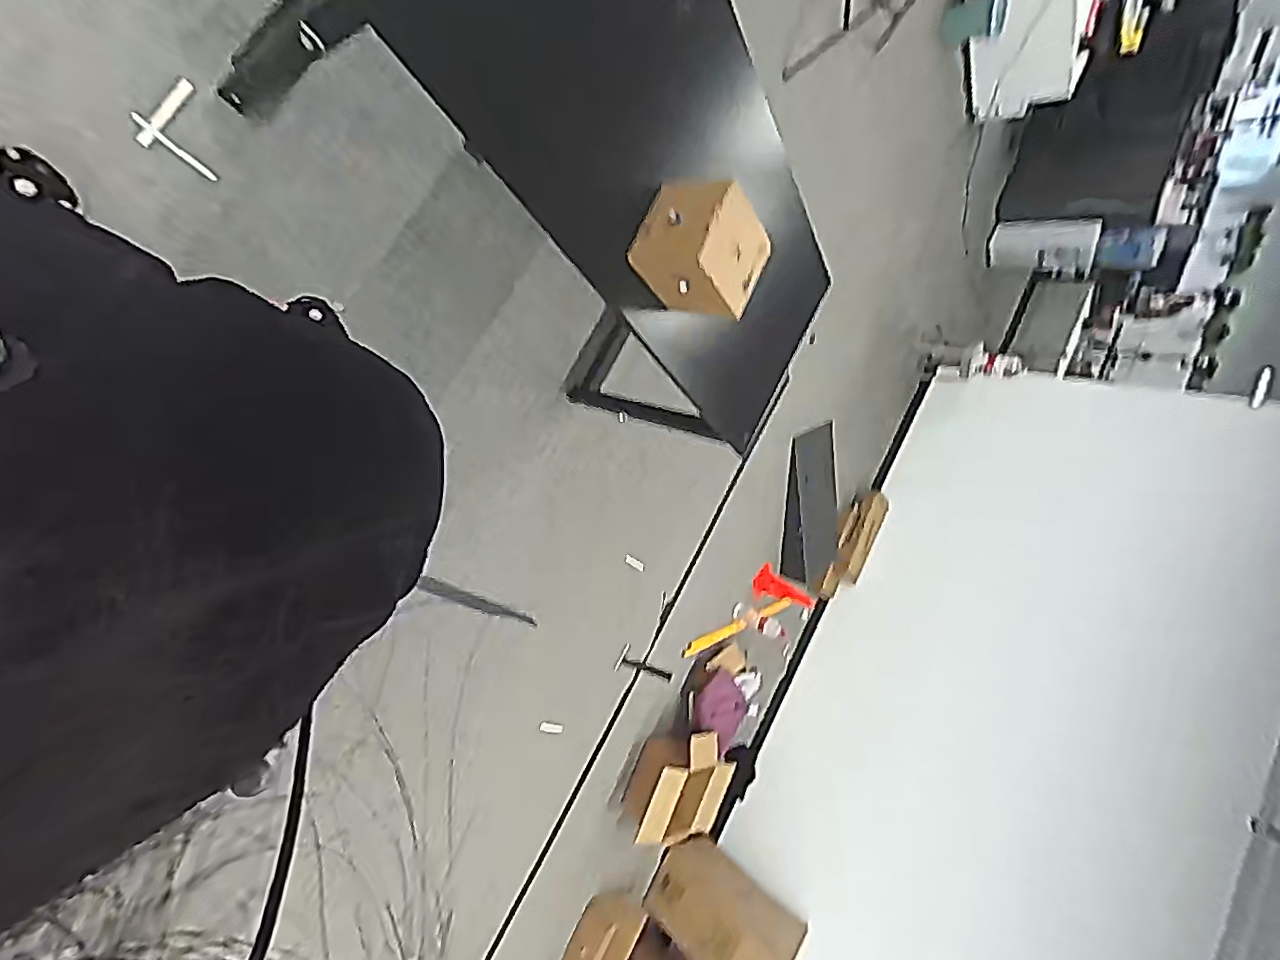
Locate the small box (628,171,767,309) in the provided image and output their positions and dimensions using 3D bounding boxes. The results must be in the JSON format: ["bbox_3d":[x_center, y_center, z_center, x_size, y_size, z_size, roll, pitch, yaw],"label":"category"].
[{"bbox_3d":[0.107,-0.443,1.025,0.179,0.176,0.168,32,80,-49],"label":"small box"}]
